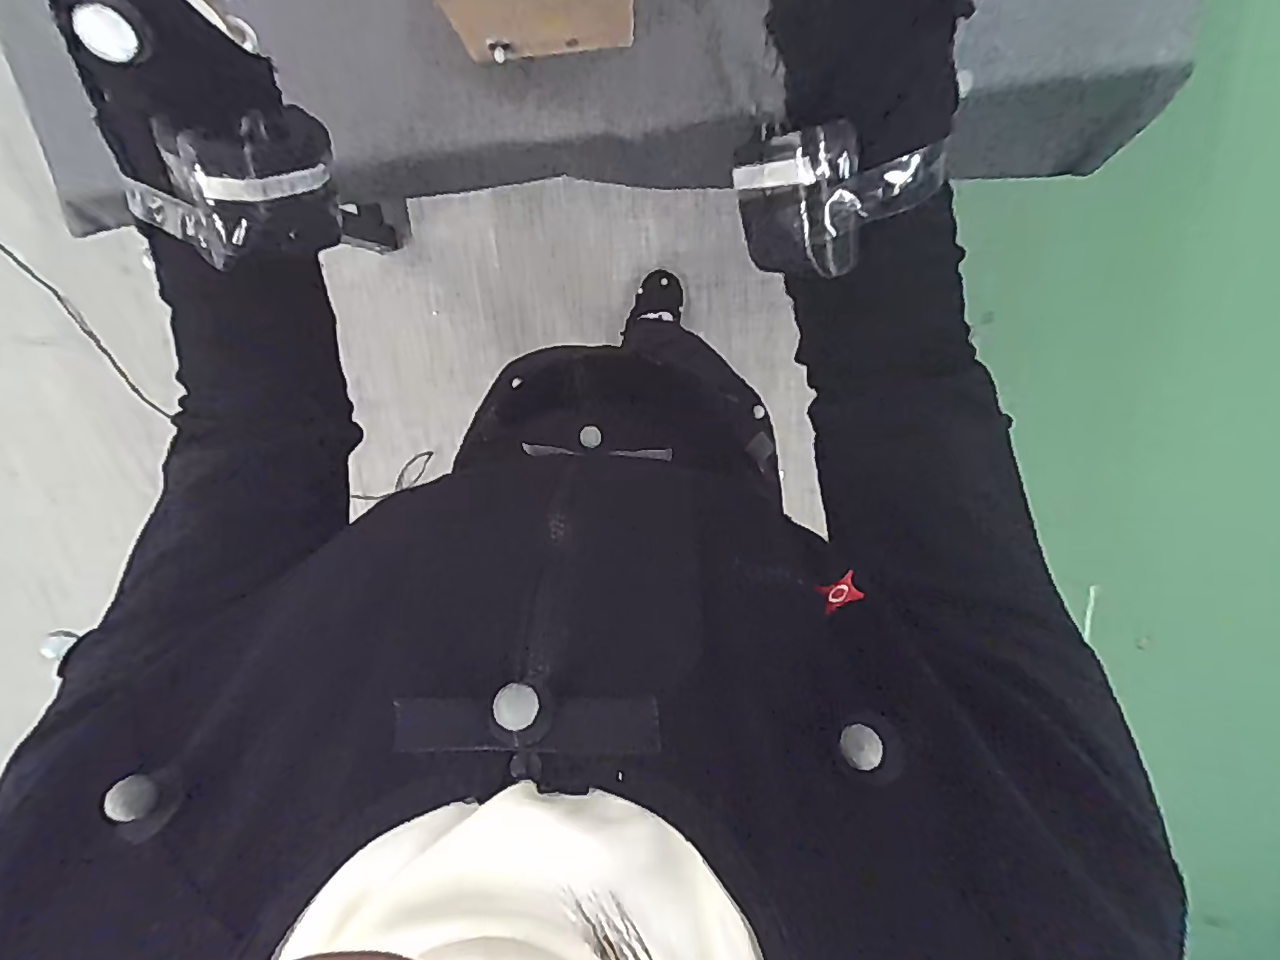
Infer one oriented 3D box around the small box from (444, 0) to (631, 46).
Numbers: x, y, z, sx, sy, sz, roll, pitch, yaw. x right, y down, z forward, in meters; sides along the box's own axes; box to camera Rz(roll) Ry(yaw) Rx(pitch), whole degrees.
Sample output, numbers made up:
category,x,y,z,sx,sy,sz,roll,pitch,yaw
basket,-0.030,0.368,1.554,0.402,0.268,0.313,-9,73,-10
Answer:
category,x,y,z,sx,sy,sz,roll,pitch,yaw
small box,-0.100,-0.505,0.456,0.168,0.176,0.179,-8,108,3
